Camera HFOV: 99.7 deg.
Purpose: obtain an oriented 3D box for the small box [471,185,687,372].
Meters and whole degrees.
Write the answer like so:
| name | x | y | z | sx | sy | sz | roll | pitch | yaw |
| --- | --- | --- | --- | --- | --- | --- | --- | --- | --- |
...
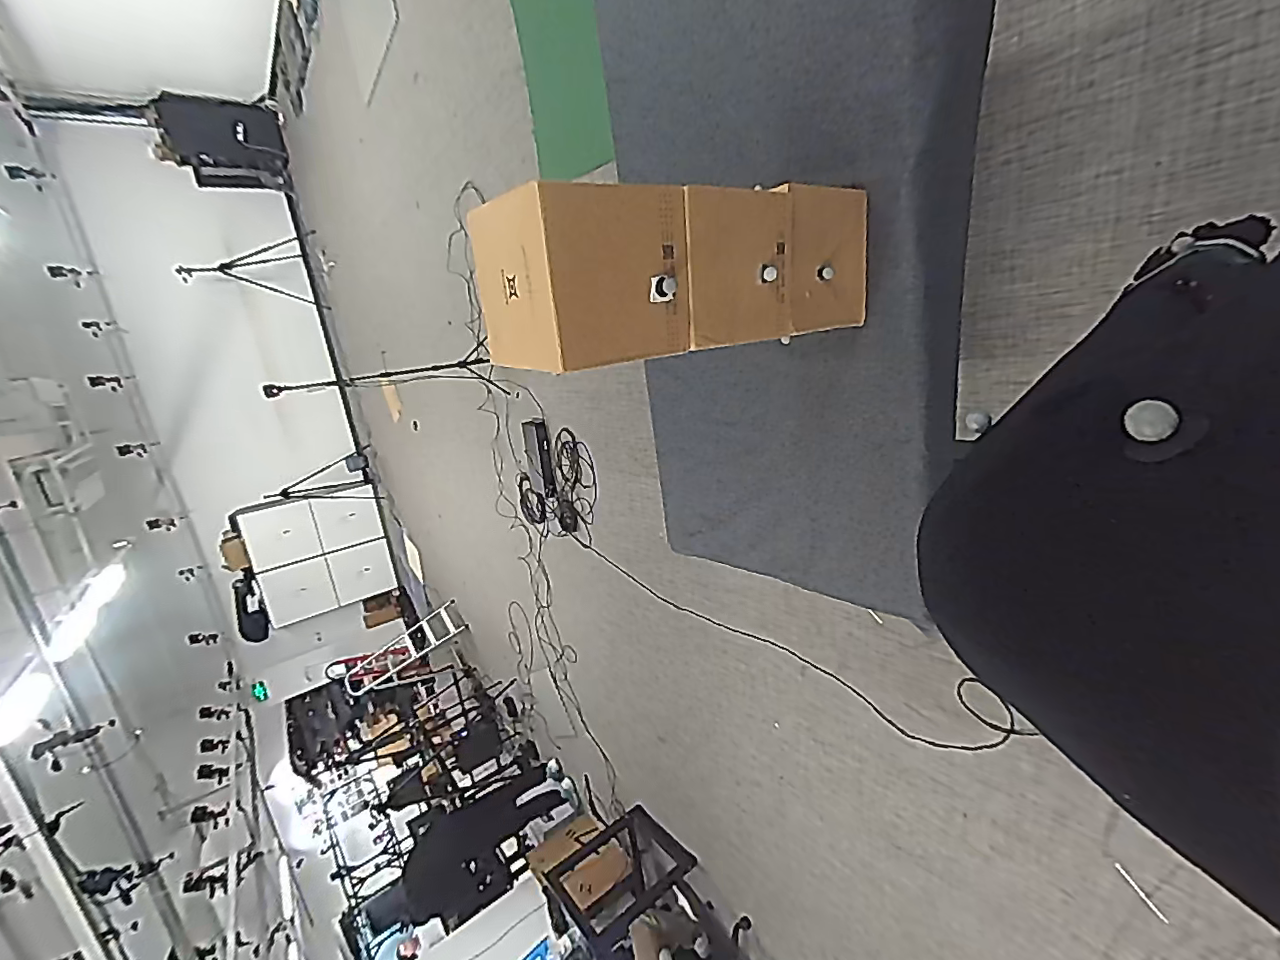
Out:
| name | x | y | z | sx | sy | sz | roll | pitch | yaw |
| --- | --- | --- | --- | --- | --- | --- | --- | --- | --- |
| small box | -0.065 | -0.219 | 0.605 | 0.179 | 0.176 | 0.168 | 19 | 121 | 50 |

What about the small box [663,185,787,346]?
| name | x | y | z | sx | sy | sz | roll | pitch | yaw |
| --- | --- | --- | --- | --- | --- | --- | --- | --- | --- |
| small box | 0.066 | -0.262 | 0.690 | 0.179 | 0.176 | 0.168 | 17 | 118 | 54 |

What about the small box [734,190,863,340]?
| name | x | y | z | sx | sy | sz | roll | pitch | yaw |
| --- | --- | --- | --- | --- | --- | --- | --- | --- | --- |
| small box | 0.200 | -0.303 | 0.775 | 0.168 | 0.176 | 0.179 | 16 | 118 | 52 |
